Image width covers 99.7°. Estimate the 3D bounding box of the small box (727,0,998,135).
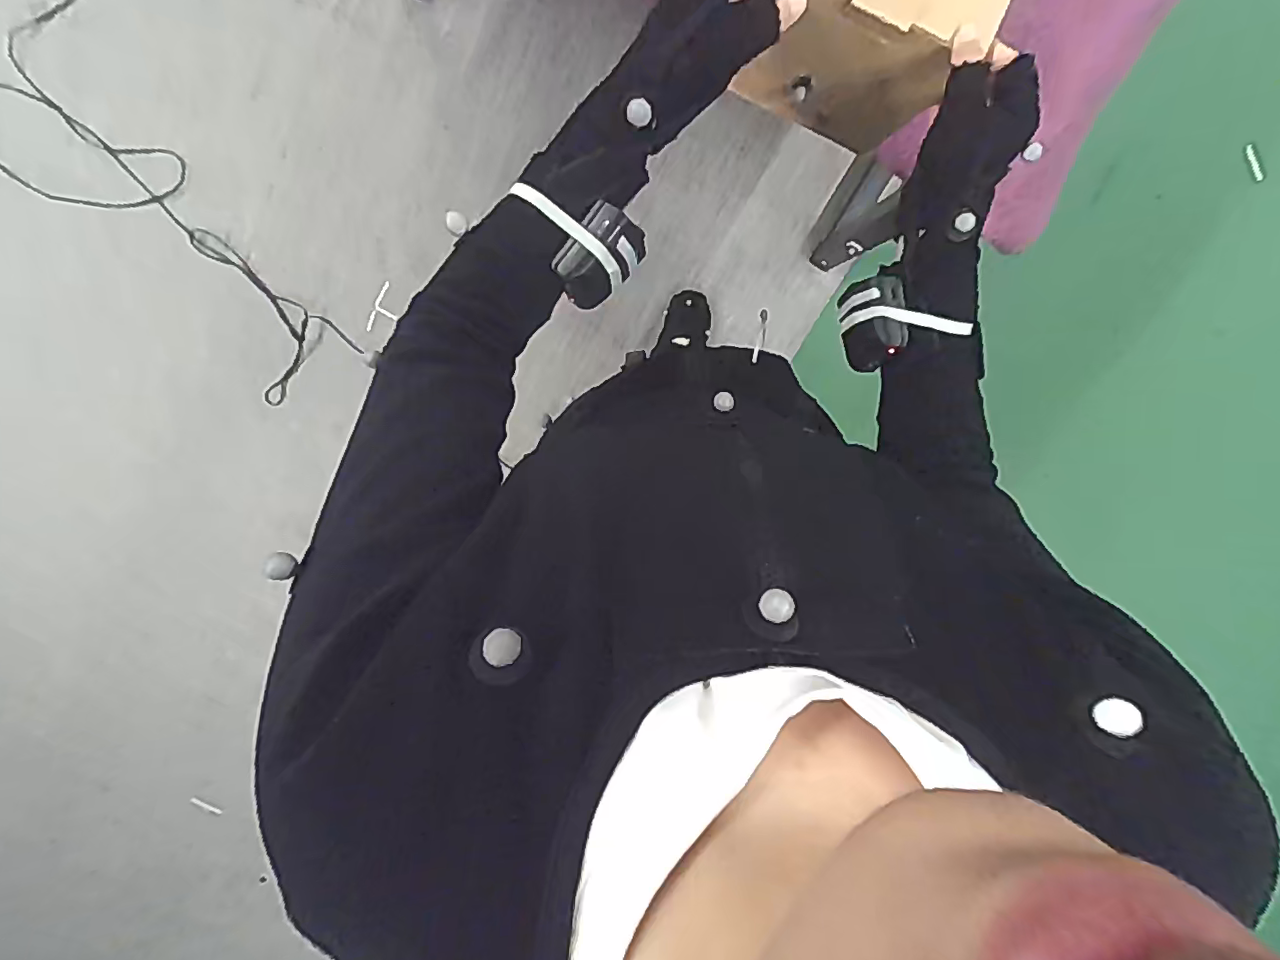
[{"bbox_3d":[0.187,-0.428,0.434,0.168,0.176,0.179,20,100,-9],"label":"small box"}]
